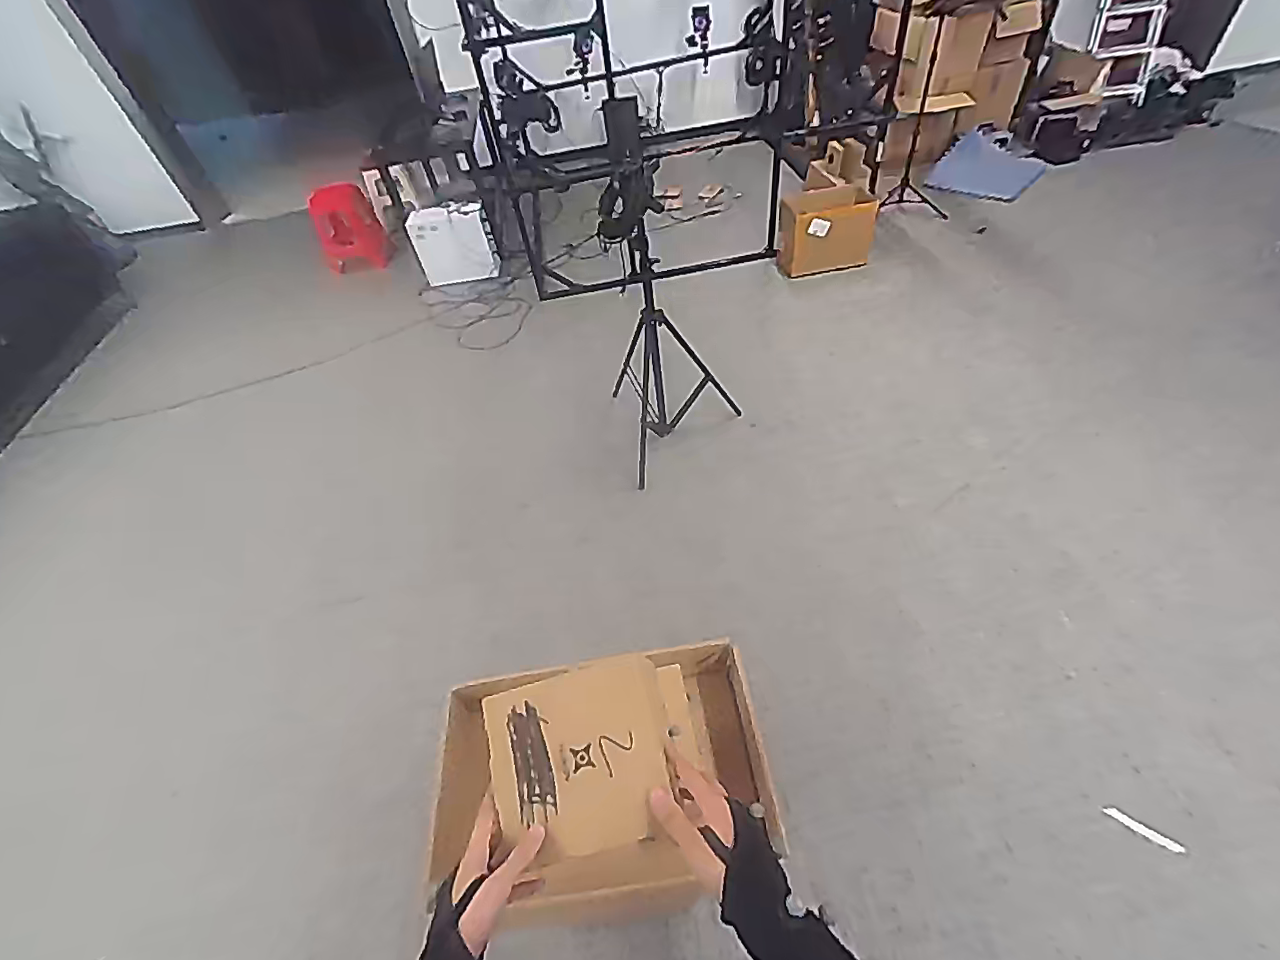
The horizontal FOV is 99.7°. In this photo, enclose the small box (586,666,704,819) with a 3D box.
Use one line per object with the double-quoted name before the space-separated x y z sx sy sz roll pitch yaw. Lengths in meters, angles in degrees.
"small box" 0.009 0.444 0.913 0.168 0.176 0.179 -12 48 0
